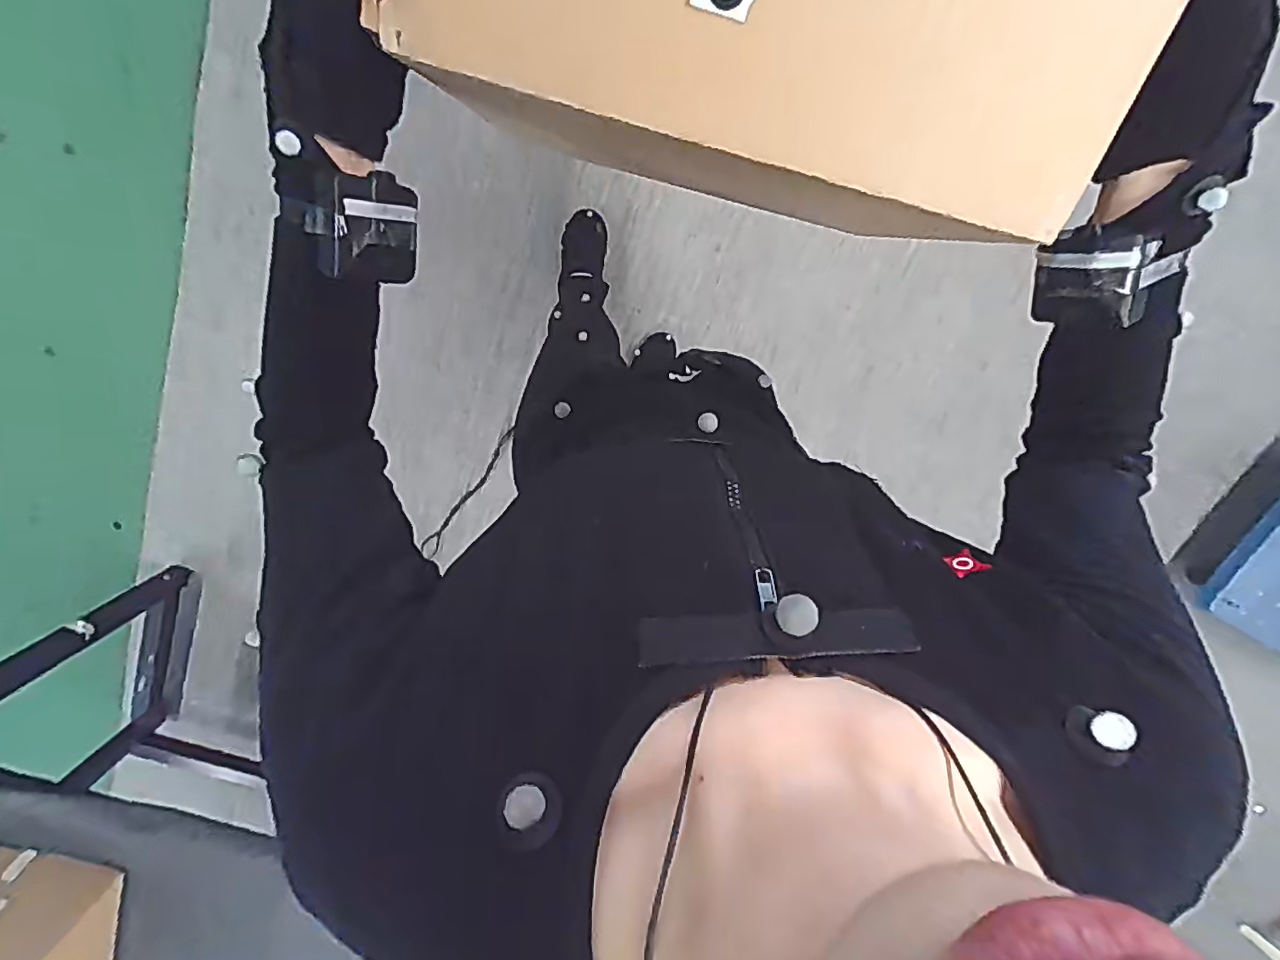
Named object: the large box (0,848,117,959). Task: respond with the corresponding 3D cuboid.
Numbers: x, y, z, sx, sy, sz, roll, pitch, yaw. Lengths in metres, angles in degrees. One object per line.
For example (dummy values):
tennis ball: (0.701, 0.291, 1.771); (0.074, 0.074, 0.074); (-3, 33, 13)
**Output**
large box: (-1.108, 0.856, 0.833); (0.320, 0.320, 0.408); (19, 106, -7)
